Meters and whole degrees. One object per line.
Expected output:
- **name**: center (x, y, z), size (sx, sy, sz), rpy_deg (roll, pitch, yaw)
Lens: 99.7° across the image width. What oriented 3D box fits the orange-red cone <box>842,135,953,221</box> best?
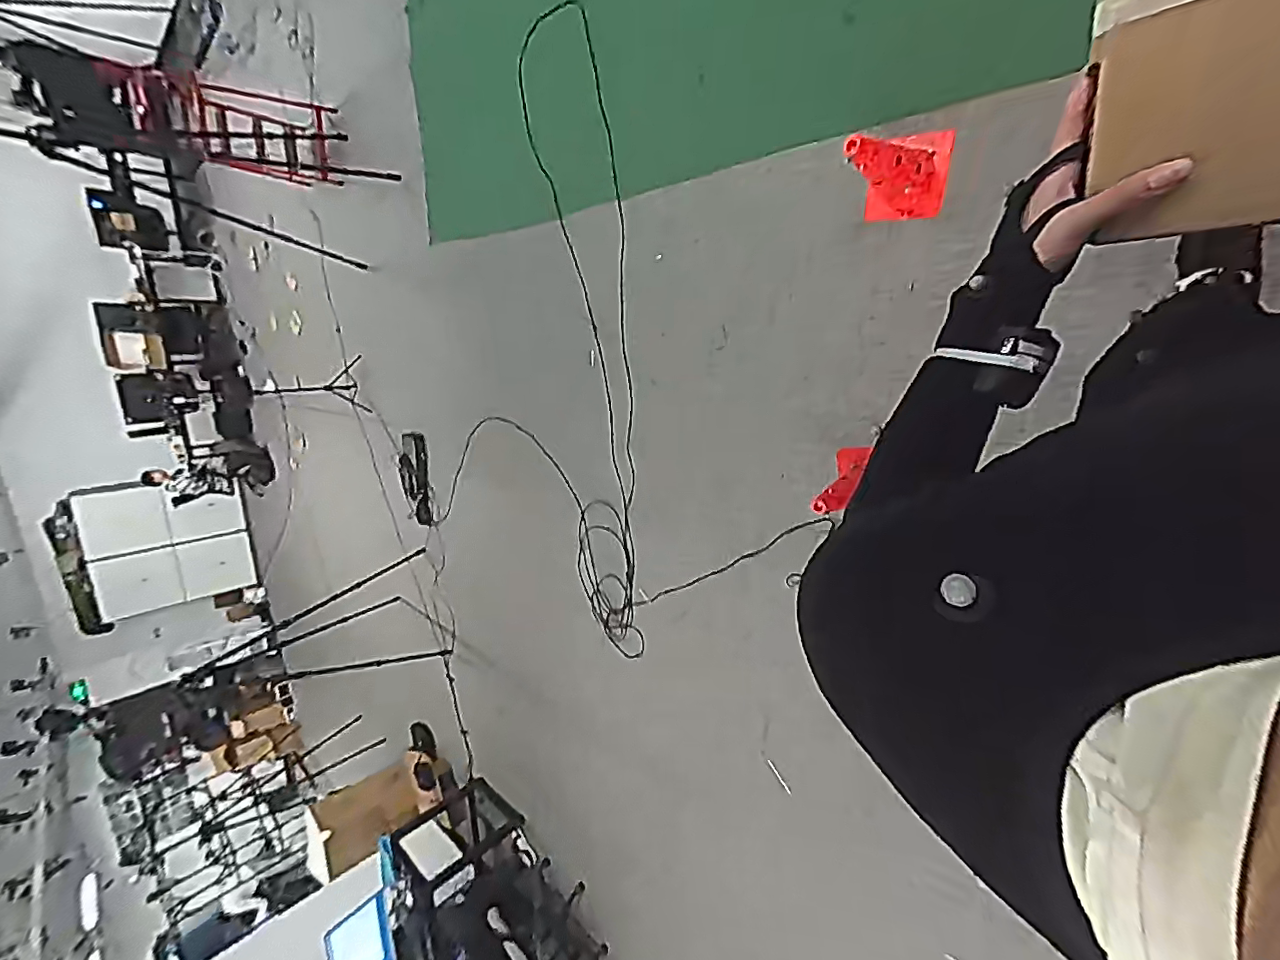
- **orange-red cone**: center (0.582, -0.766, 1.311), size (0.199, 0.360, 0.198), rpy_deg (21, 114, 41)
